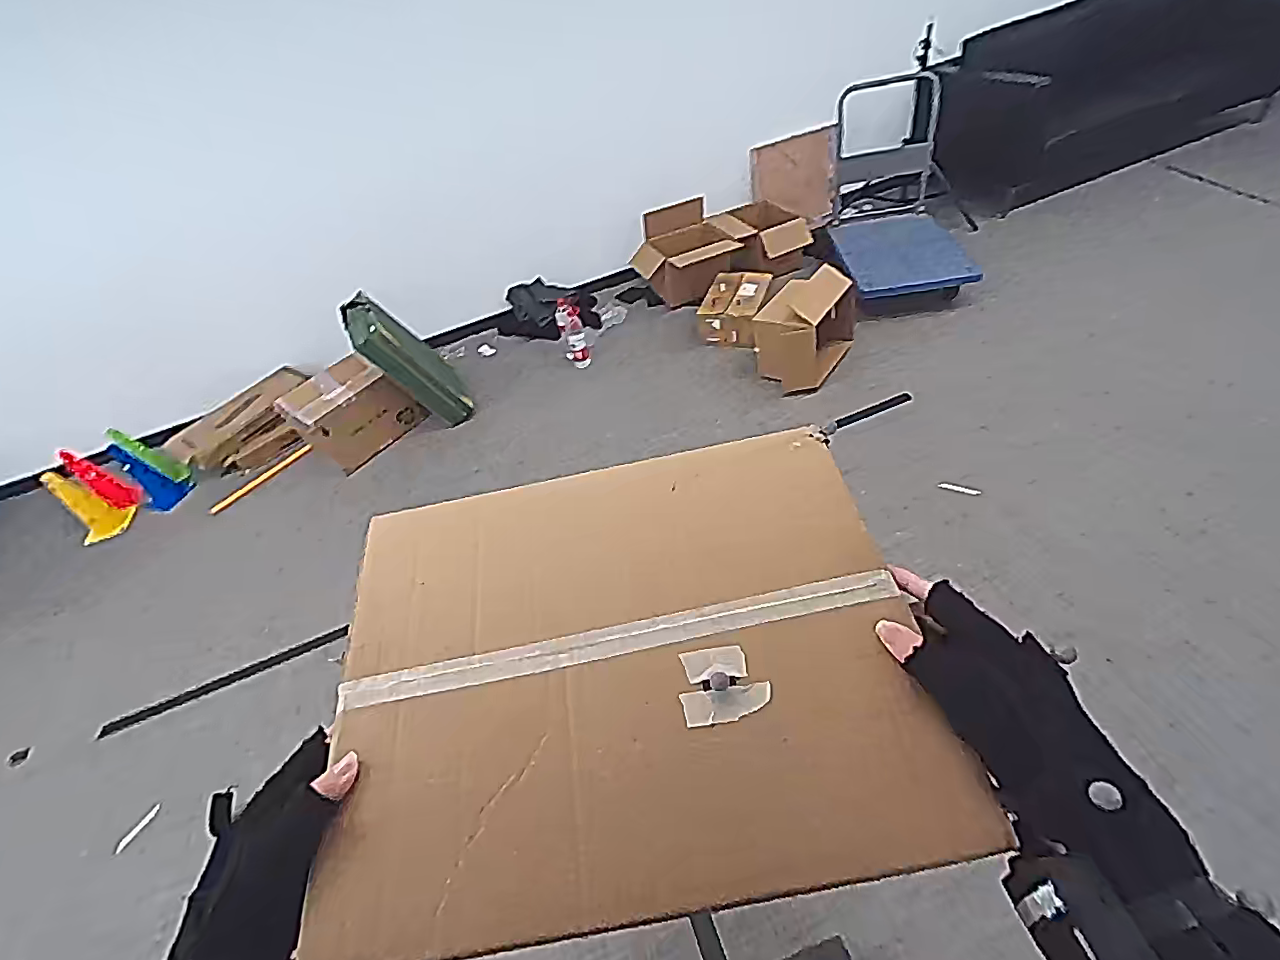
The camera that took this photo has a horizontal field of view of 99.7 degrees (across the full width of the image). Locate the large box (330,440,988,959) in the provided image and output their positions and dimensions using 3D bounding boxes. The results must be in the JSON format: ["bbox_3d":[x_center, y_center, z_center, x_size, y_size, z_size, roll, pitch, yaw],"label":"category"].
[{"bbox_3d":[0.005,0.210,0.521,0.408,0.320,0.320,-11,54,1],"label":"large box"}]
